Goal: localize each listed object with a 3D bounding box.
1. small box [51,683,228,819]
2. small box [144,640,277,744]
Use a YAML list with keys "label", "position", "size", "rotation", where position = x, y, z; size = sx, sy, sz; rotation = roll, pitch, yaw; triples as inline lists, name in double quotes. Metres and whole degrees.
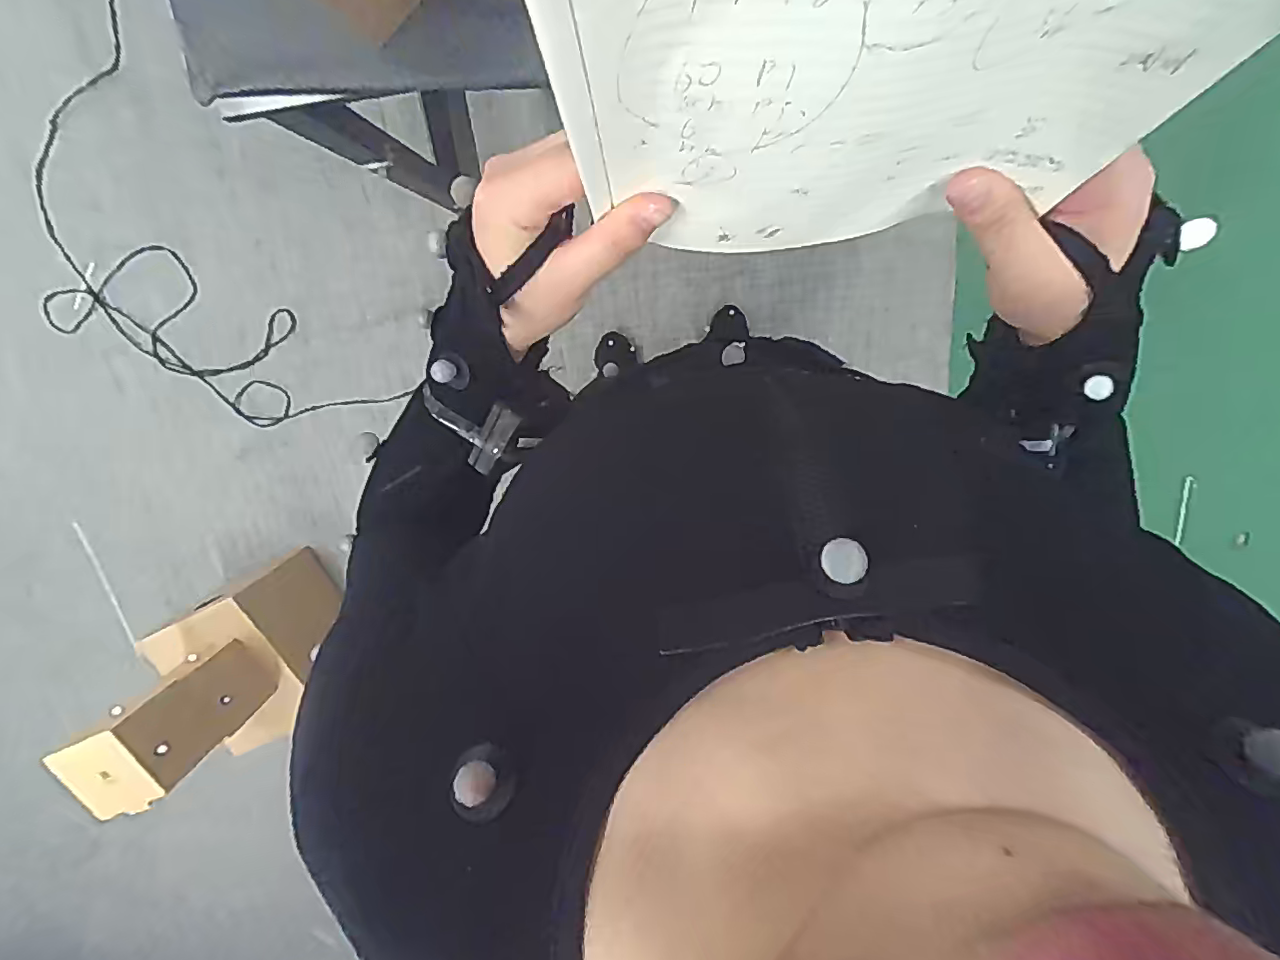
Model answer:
- label: "small box"
  position: [-1.039, 0.557, 1.140]
  size: [0.168, 0.176, 0.179]
  rotation: [-24, 105, 7]
- label: "small box"
  position: [-1.031, 0.523, 1.299]
  size: [0.168, 0.176, 0.179]
  rotation: [-24, 104, 7]
